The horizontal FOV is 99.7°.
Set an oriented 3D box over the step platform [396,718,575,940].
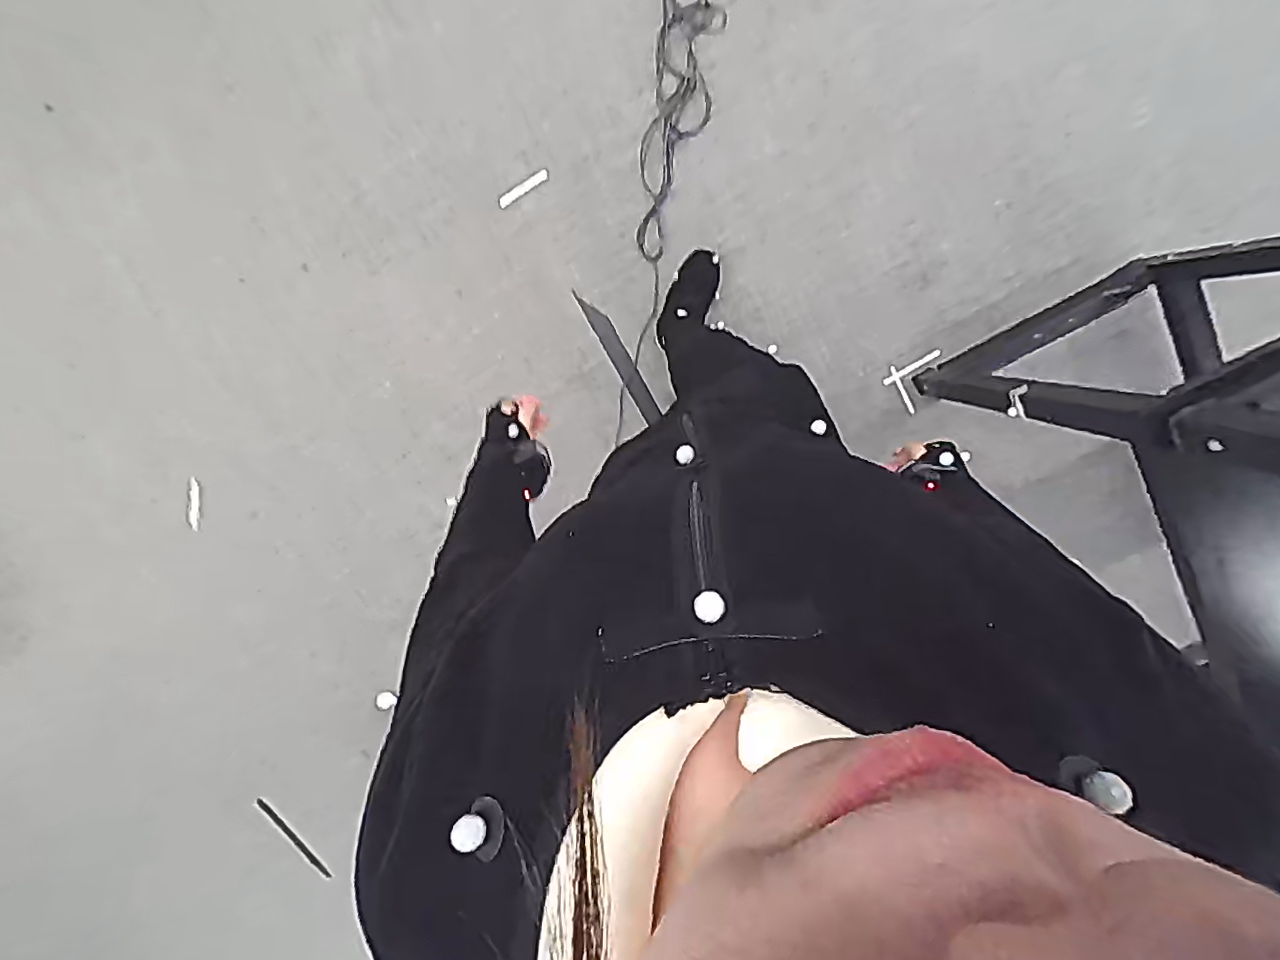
[{"bbox_3d":[-0.470,1.115,1.711,0.286,0.204,0.684,-23,103,8],"label":"step platform"}]
